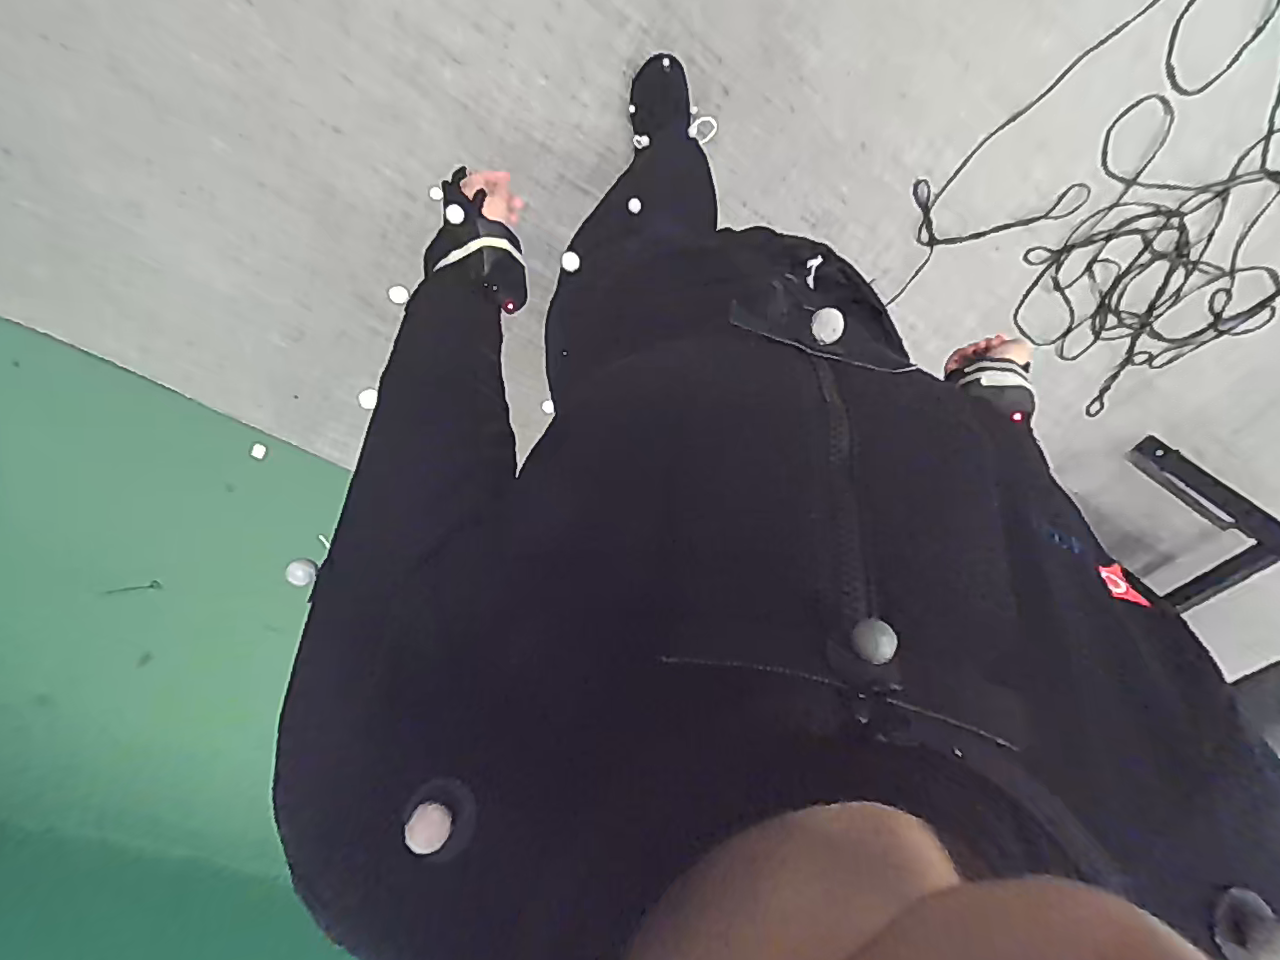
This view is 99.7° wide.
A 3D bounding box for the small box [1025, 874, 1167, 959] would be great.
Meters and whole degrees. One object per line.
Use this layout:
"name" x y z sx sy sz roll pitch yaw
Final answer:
"small box" 1.107 1.096 1.328 0.179 0.176 0.168 19 125 -15
